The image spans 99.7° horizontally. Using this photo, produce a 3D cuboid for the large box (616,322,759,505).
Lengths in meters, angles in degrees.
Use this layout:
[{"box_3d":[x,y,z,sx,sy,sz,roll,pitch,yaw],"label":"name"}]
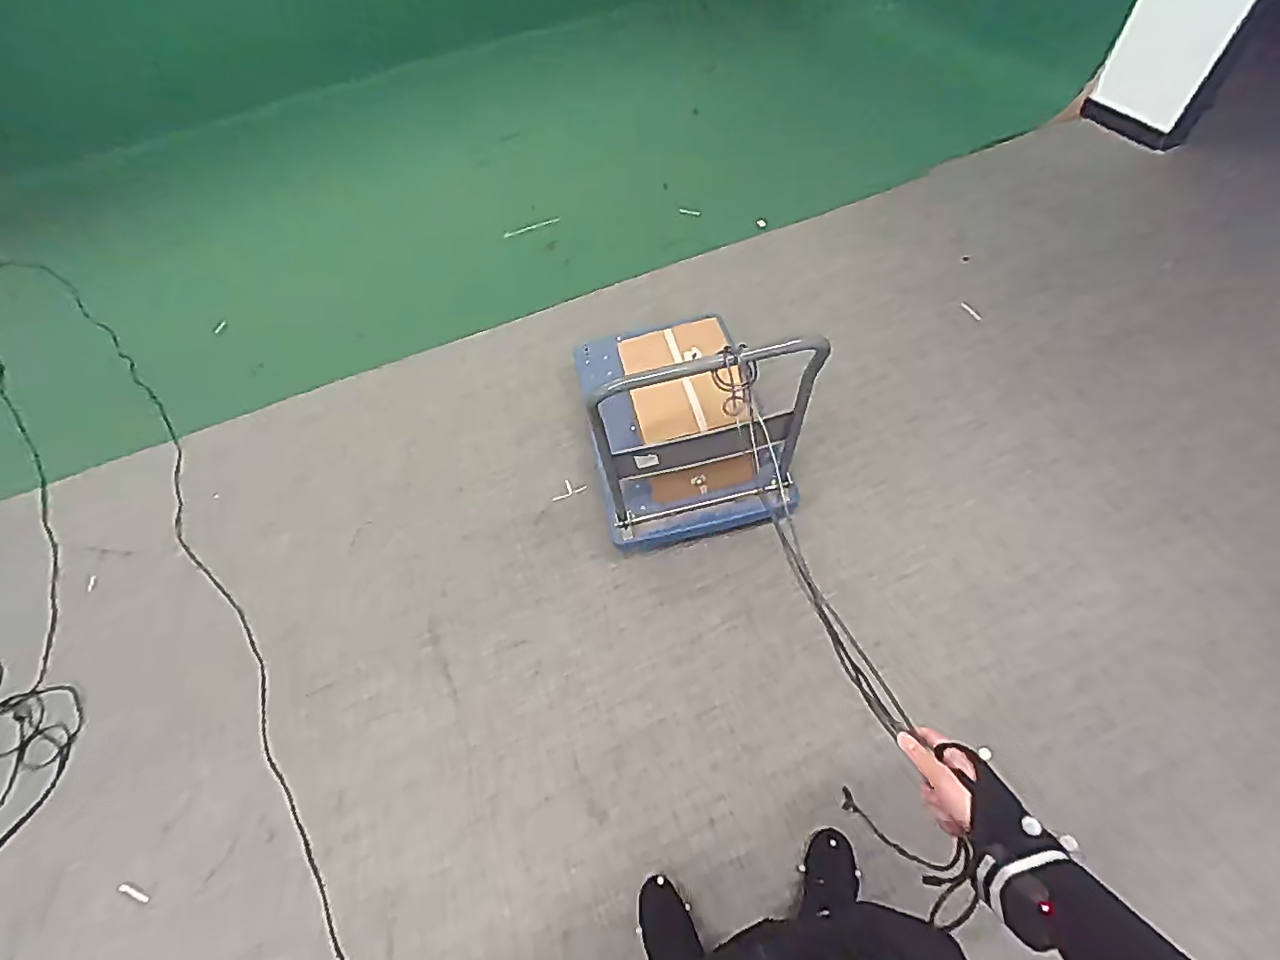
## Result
[{"box_3d":[0.141,-0.197,1.628,0.320,0.320,0.408,-14,56,-1],"label":"large box"}]
